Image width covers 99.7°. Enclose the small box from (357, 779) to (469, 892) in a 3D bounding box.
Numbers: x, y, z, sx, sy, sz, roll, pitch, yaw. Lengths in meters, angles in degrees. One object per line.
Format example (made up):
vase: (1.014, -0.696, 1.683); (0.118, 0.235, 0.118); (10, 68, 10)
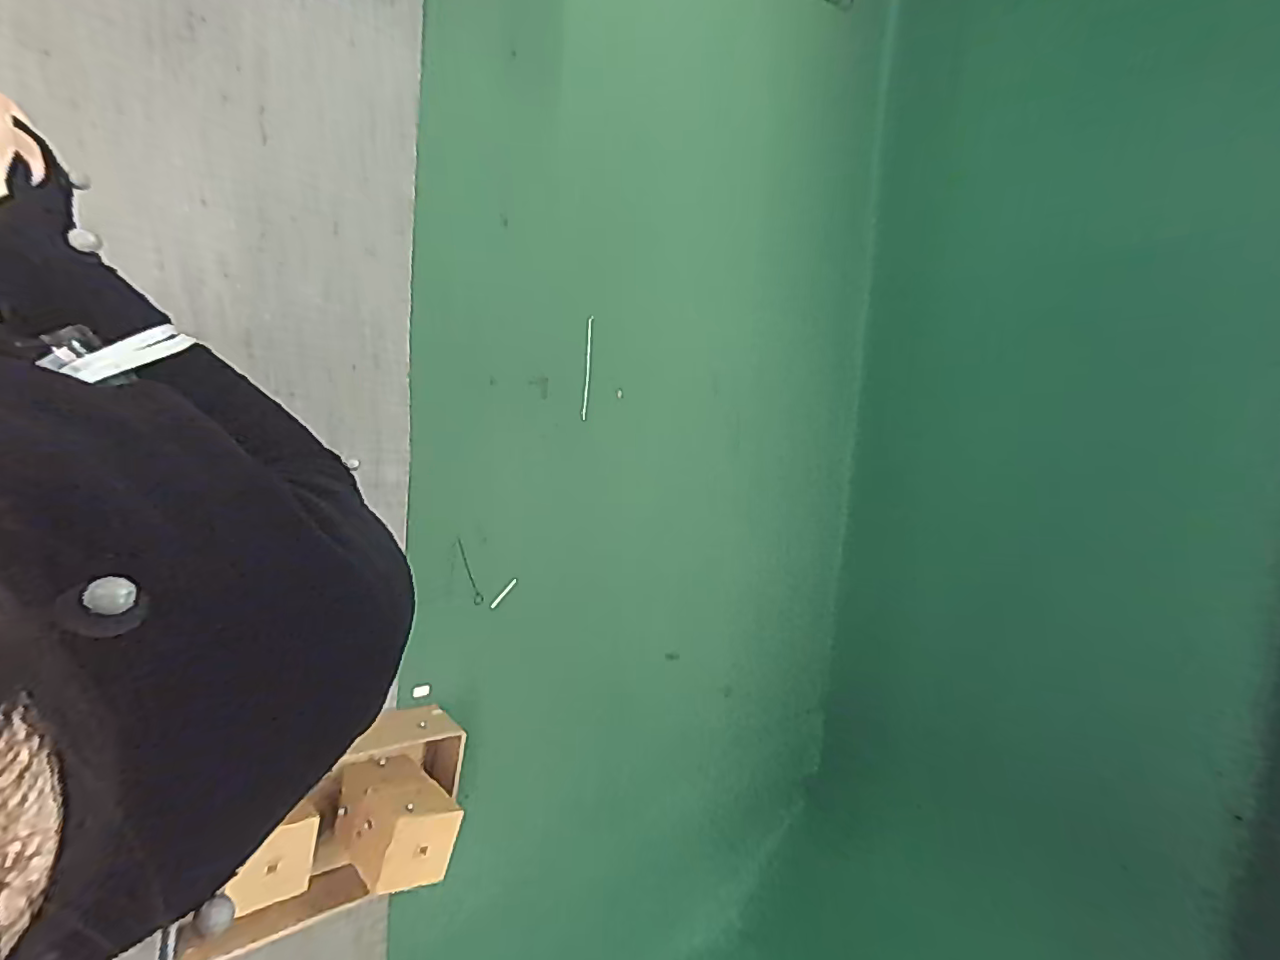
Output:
small box: (-0.559, 0.860, 1.332); (0.179, 0.176, 0.168); (25, 78, -43)
